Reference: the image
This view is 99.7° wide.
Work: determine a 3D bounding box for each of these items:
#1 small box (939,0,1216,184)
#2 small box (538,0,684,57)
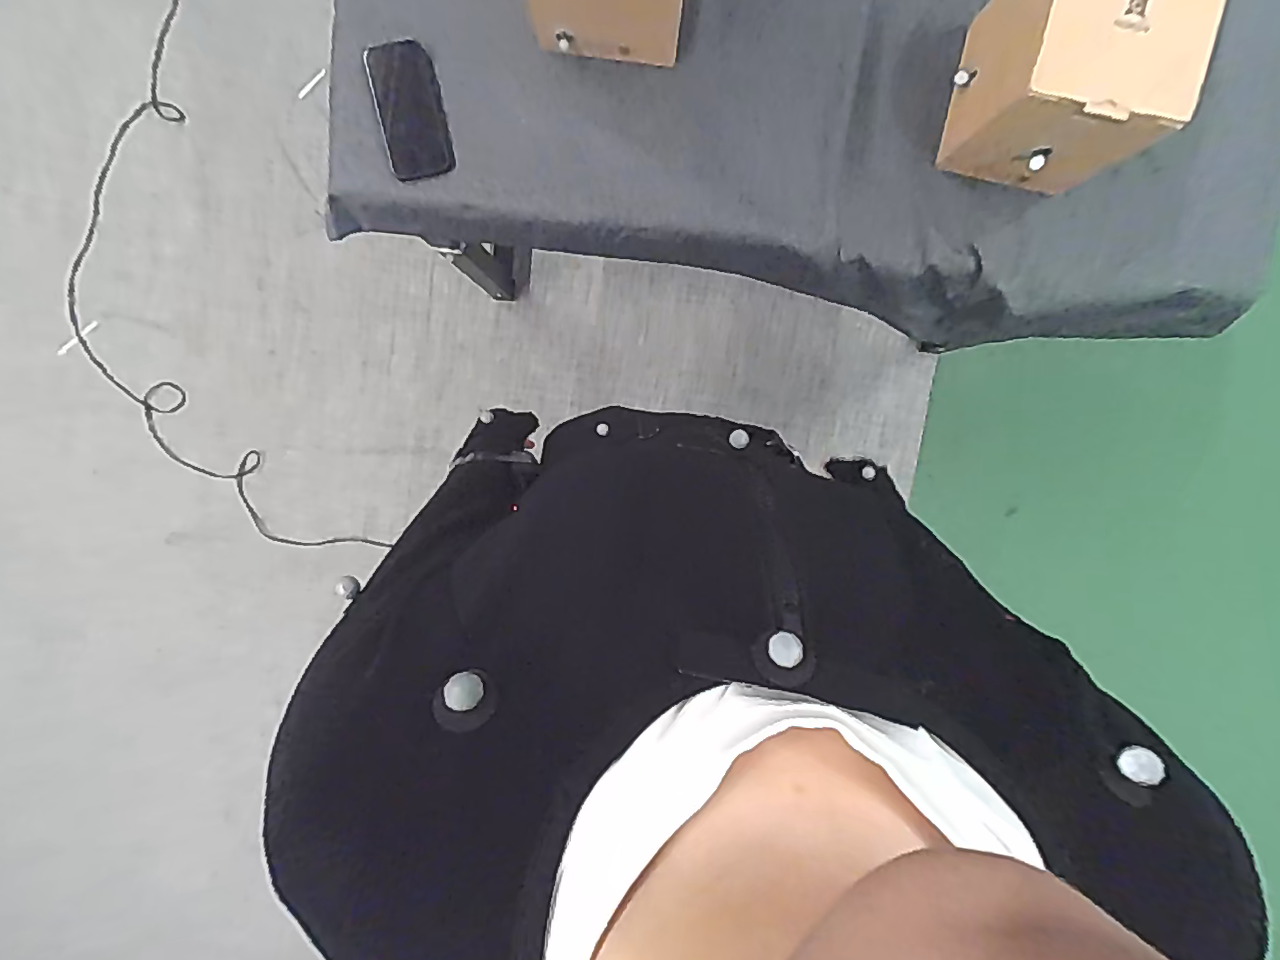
[{"bbox_3d":[0.471,-0.463,0.606,0.168,0.176,0.179,11,97,-2],"label":"small box"},{"bbox_3d":[-0.026,-0.601,0.577,0.168,0.176,0.179,6,96,-2],"label":"small box"}]
